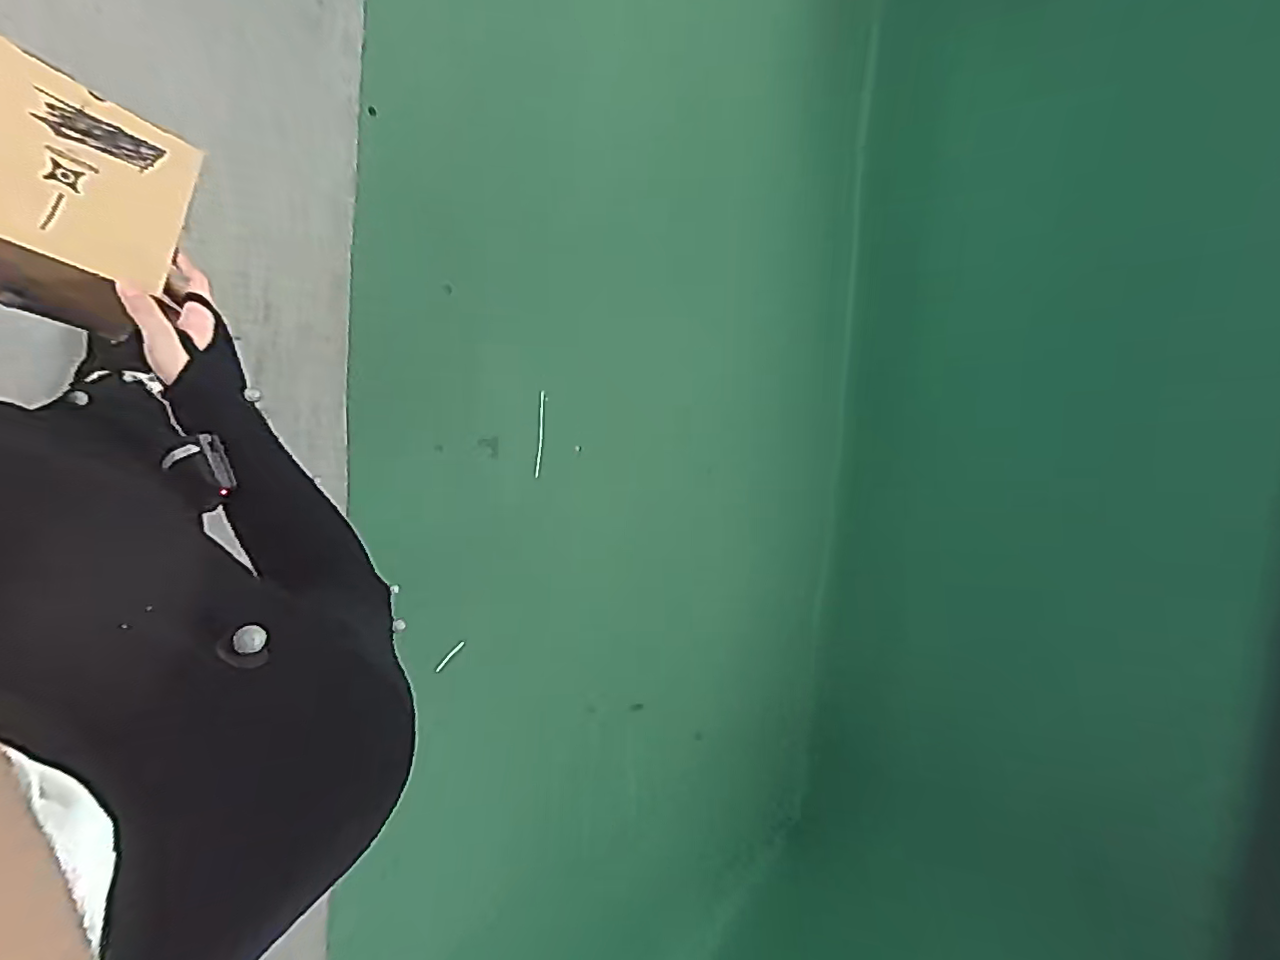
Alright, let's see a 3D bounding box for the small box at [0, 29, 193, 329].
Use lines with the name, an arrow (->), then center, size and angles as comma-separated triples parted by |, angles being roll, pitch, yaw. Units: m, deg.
small box -> -0.573, -0.273, 0.517 | 0.168, 0.176, 0.179 | 20, 68, -50
